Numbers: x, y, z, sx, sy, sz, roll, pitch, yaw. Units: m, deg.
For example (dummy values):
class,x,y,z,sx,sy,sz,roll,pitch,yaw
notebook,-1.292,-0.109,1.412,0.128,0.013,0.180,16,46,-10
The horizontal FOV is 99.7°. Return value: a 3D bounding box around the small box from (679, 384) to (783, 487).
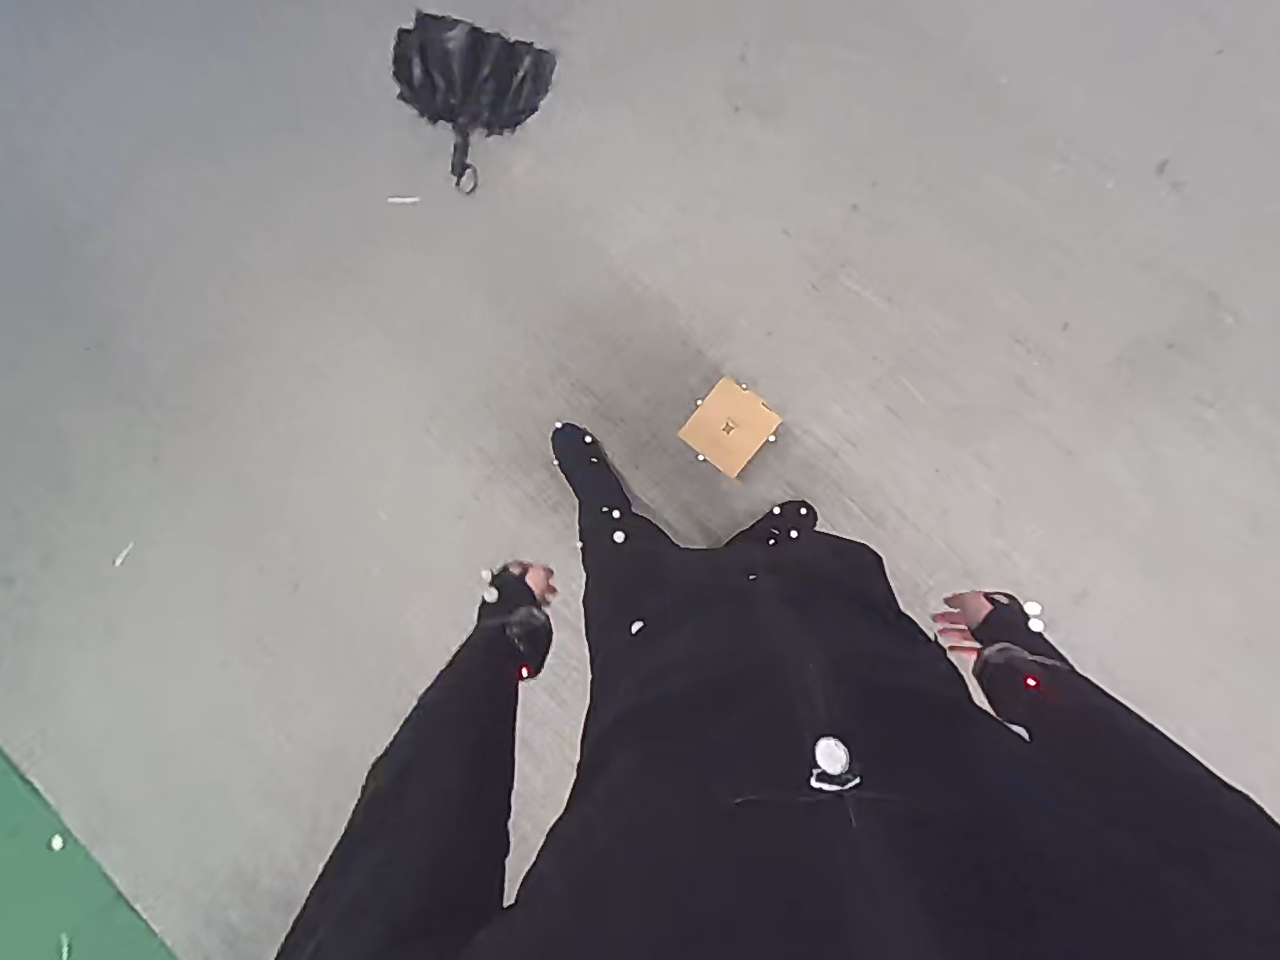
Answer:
class,x,y,z,sx,sy,sz,roll,pitch,yaw
small box,0.216,-0.103,1.292,0.168,0.176,0.179,39,99,7
